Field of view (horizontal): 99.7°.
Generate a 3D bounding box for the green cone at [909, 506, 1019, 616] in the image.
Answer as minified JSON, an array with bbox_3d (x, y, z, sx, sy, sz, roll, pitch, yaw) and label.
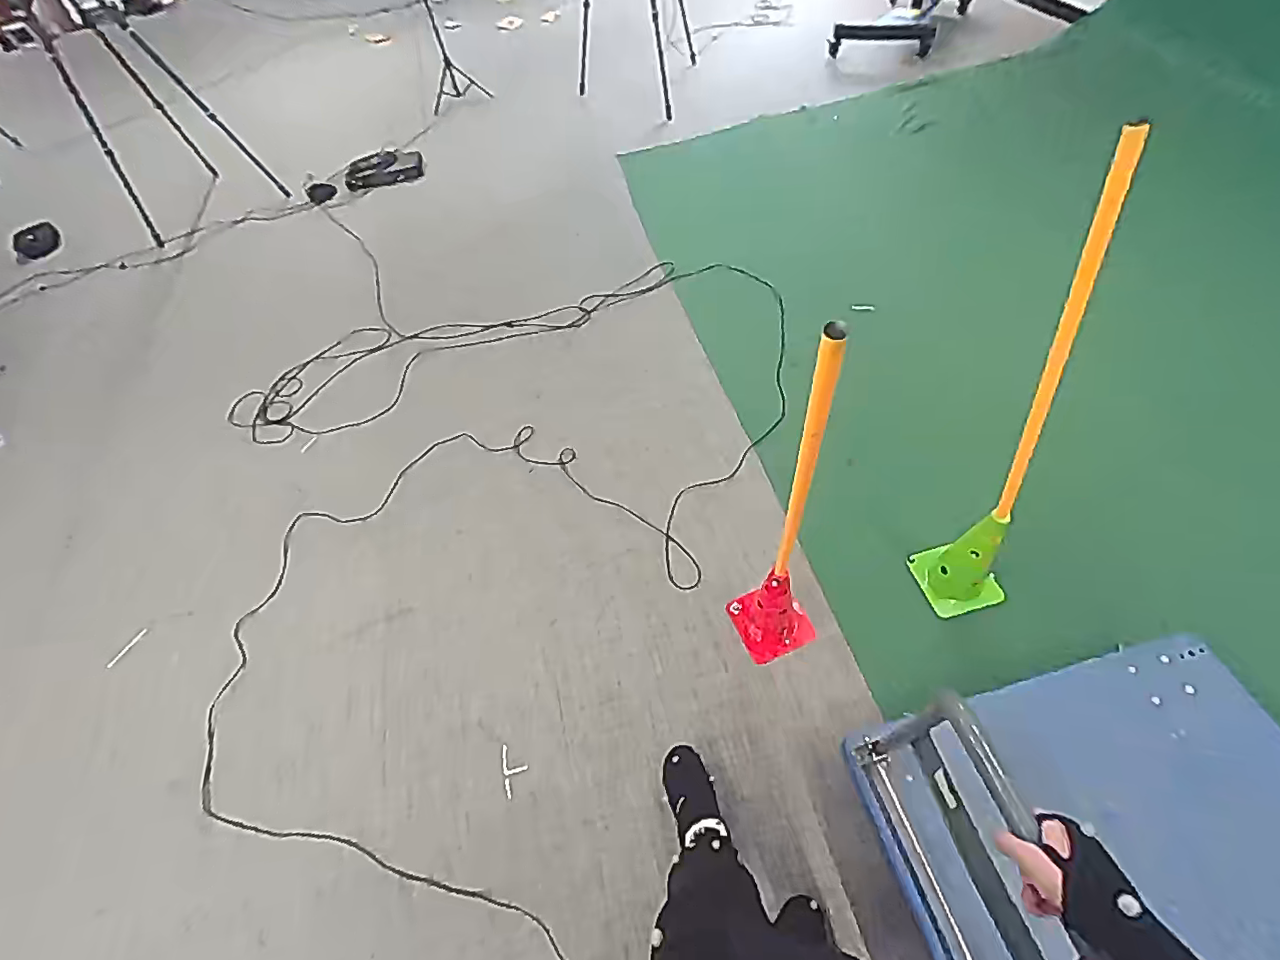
[{"bbox_3d":[0.885,0.184,1.411,0.202,0.368,0.200,-15,54,-3],"label":"green cone"}]
